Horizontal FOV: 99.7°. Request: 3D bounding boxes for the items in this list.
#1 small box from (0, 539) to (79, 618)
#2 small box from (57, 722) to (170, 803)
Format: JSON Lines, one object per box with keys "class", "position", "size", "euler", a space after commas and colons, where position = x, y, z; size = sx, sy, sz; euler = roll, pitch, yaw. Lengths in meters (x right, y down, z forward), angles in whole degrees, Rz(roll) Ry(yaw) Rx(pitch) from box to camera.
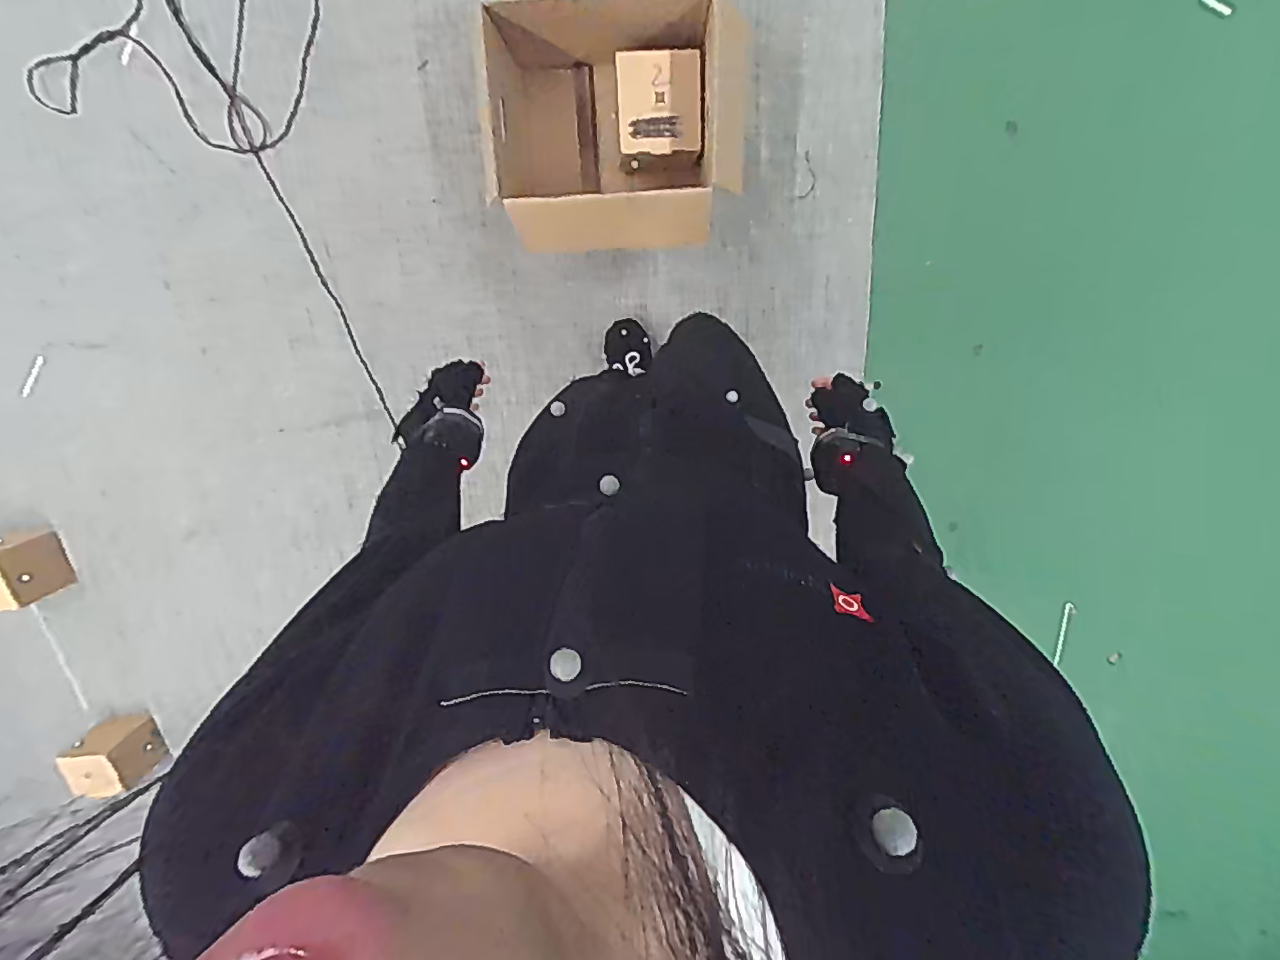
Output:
{"class": "small box", "position": [-1.793, 0.277, 1.547], "size": [0.168, 0.176, 0.179], "euler": [-5, 110, 2]}
{"class": "small box", "position": [-1.712, 0.920, 1.770], "size": [0.179, 0.176, 0.168], "euler": [-5, 109, 3]}
